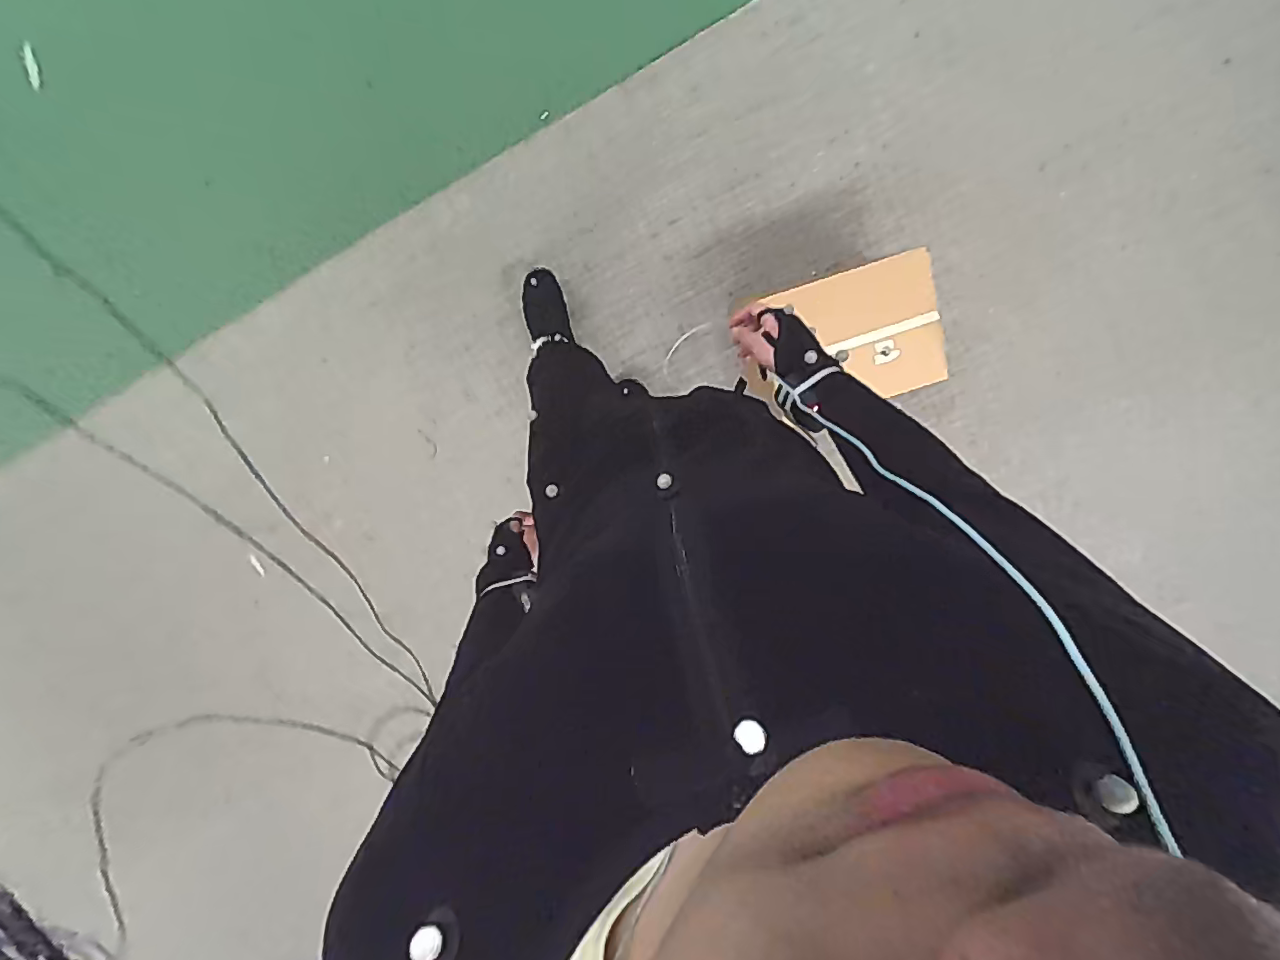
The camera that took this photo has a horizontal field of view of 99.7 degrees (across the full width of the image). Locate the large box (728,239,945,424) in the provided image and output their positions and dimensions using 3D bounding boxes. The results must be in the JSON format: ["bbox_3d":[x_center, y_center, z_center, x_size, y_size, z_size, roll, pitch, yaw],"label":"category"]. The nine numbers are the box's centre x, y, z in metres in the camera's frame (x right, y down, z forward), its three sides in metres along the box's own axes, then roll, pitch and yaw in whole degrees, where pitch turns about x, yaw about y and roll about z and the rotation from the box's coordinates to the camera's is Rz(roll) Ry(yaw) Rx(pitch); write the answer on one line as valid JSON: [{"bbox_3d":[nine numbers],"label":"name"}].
[{"bbox_3d":[0.481,-0.371,1.389,0.408,0.320,0.320,-18,106,3],"label":"large box"}]
